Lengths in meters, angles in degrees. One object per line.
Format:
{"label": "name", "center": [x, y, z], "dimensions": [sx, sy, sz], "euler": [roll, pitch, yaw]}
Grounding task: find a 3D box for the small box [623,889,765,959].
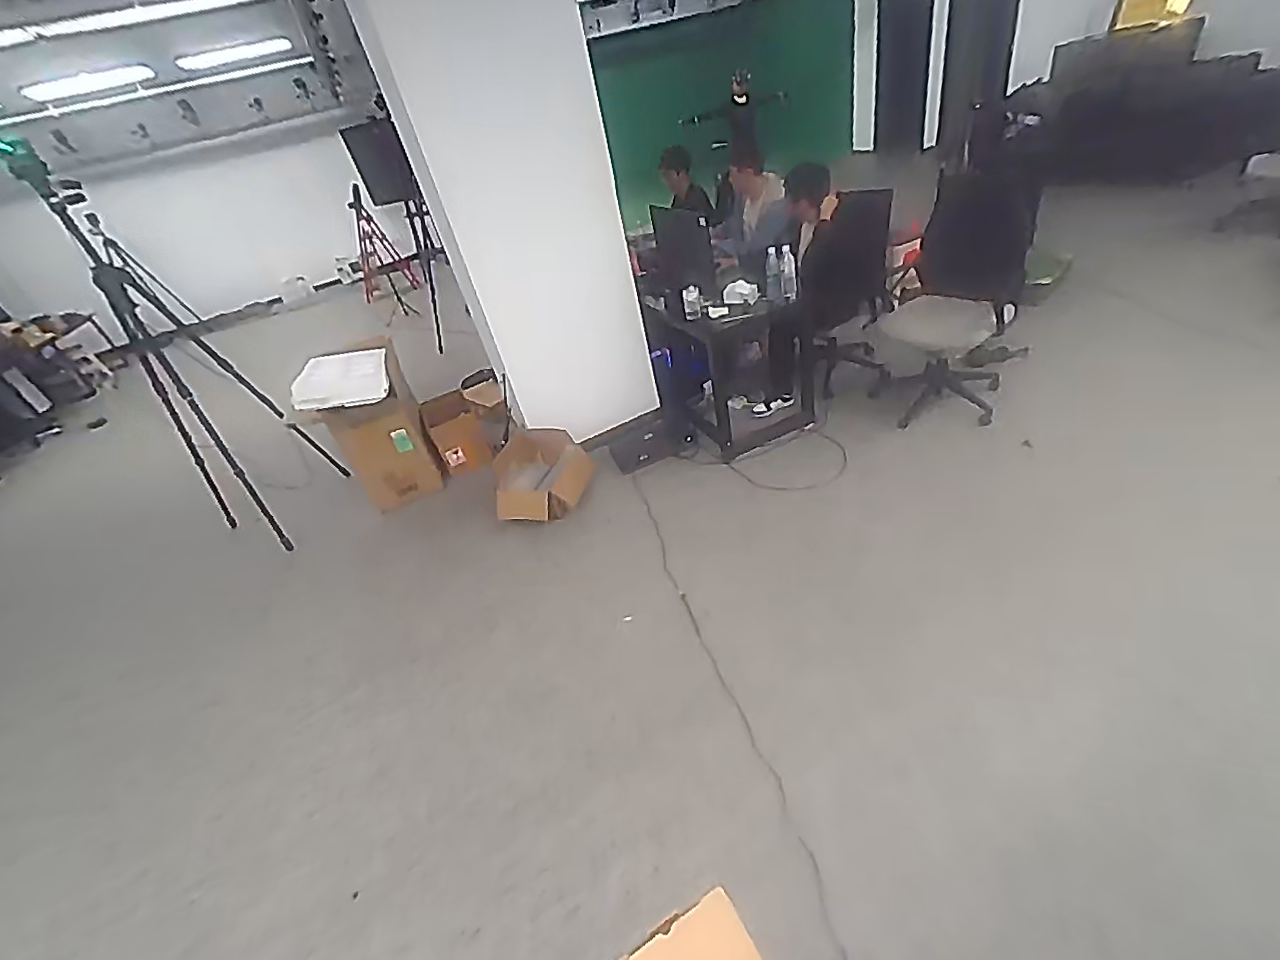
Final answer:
{"label": "small box", "center": [0.087, 0.645, 0.641], "dimensions": [0.168, 0.176, 0.179], "euler": [-26, 42, -16]}
